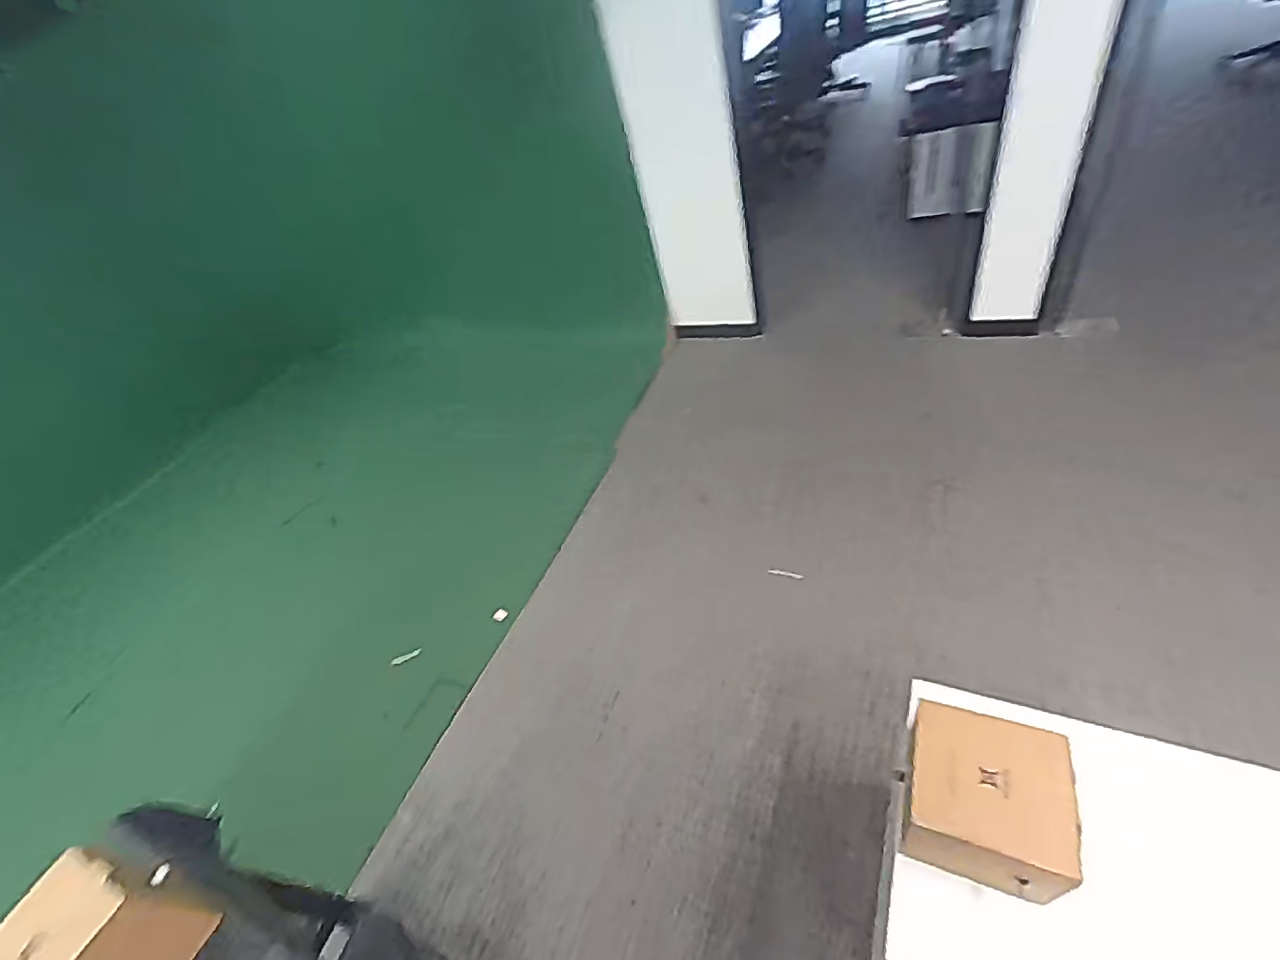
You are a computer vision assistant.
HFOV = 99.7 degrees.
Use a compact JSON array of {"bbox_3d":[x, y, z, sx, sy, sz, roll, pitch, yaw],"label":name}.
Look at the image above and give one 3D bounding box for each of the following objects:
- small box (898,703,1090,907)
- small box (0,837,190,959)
[{"bbox_3d":[0.453,0.432,0.718,0.179,0.176,0.168,7,46,24],"label":"small box"},{"bbox_3d":[-0.756,0.621,0.717,0.168,0.176,0.179,9,48,26],"label":"small box"}]
